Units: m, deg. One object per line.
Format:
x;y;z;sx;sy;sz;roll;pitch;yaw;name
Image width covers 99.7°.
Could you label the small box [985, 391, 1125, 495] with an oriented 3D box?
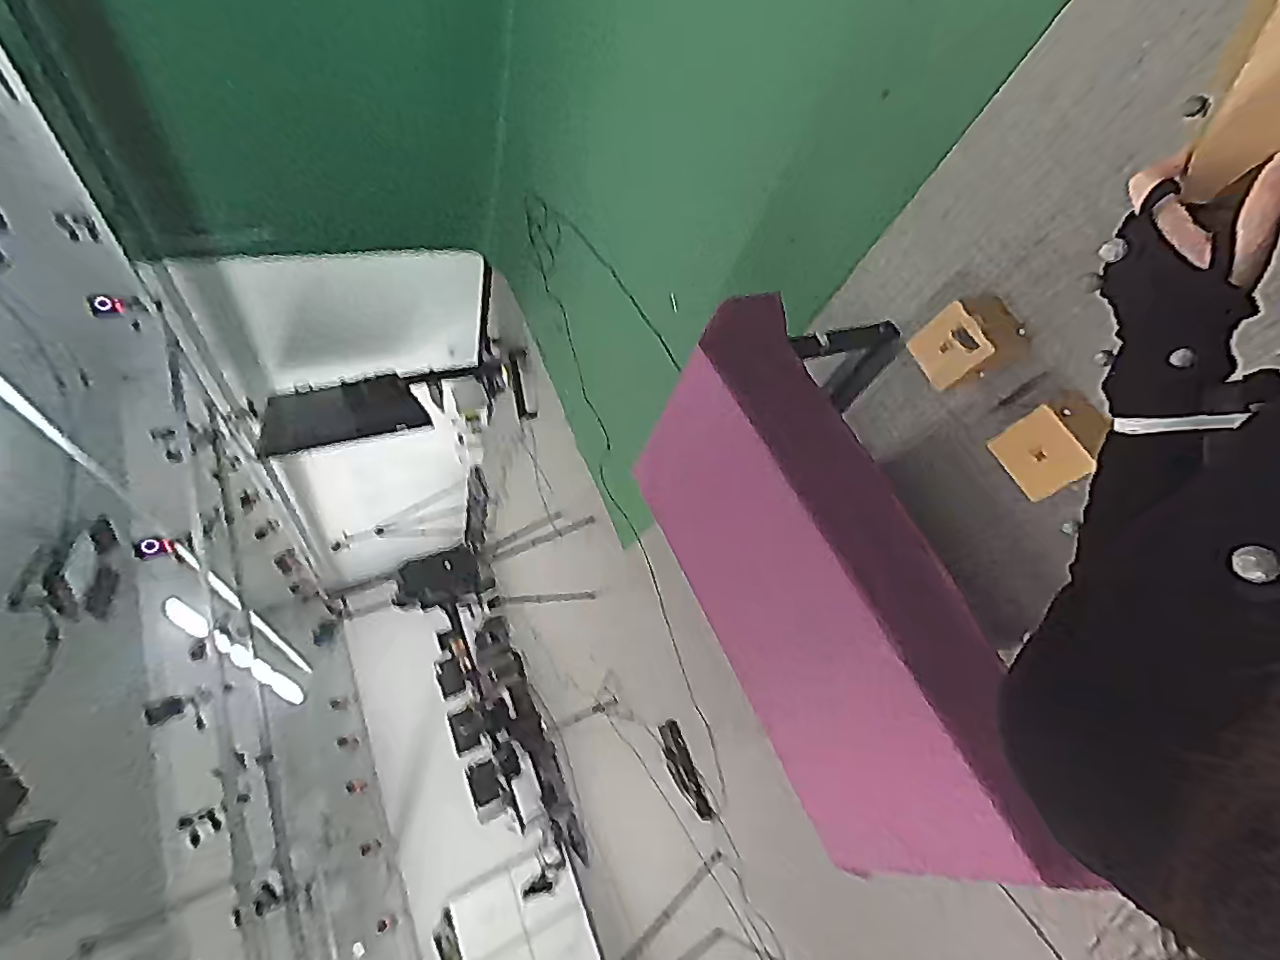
0.994;-0.092;1.296;0.179;0.176;0.168;64;151;22;small box
